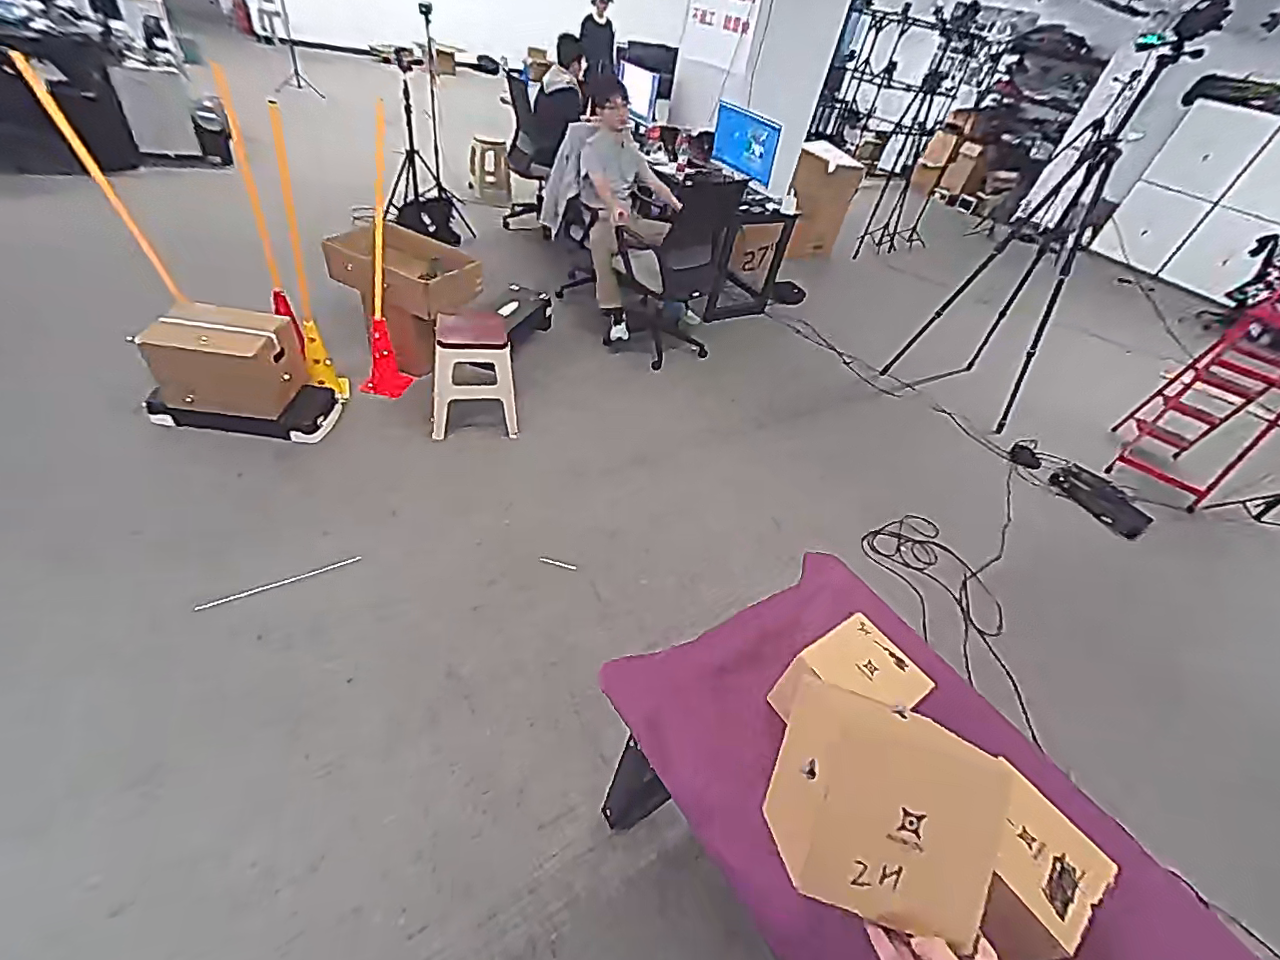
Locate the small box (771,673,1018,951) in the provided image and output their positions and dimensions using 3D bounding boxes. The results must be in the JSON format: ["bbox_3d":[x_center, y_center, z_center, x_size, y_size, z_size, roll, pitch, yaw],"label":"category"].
[{"bbox_3d":[0.255,0.330,0.583,0.168,0.176,0.179,20,83,5],"label":"small box"}]

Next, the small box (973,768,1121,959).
[{"bbox_3d":[0.523,0.555,0.787,0.168,0.176,0.179,-19,49,-31],"label":"small box"}]

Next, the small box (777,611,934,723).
[{"bbox_3d":[0.363,0.371,0.948,0.179,0.176,0.168,-20,52,-30],"label":"small box"}]
